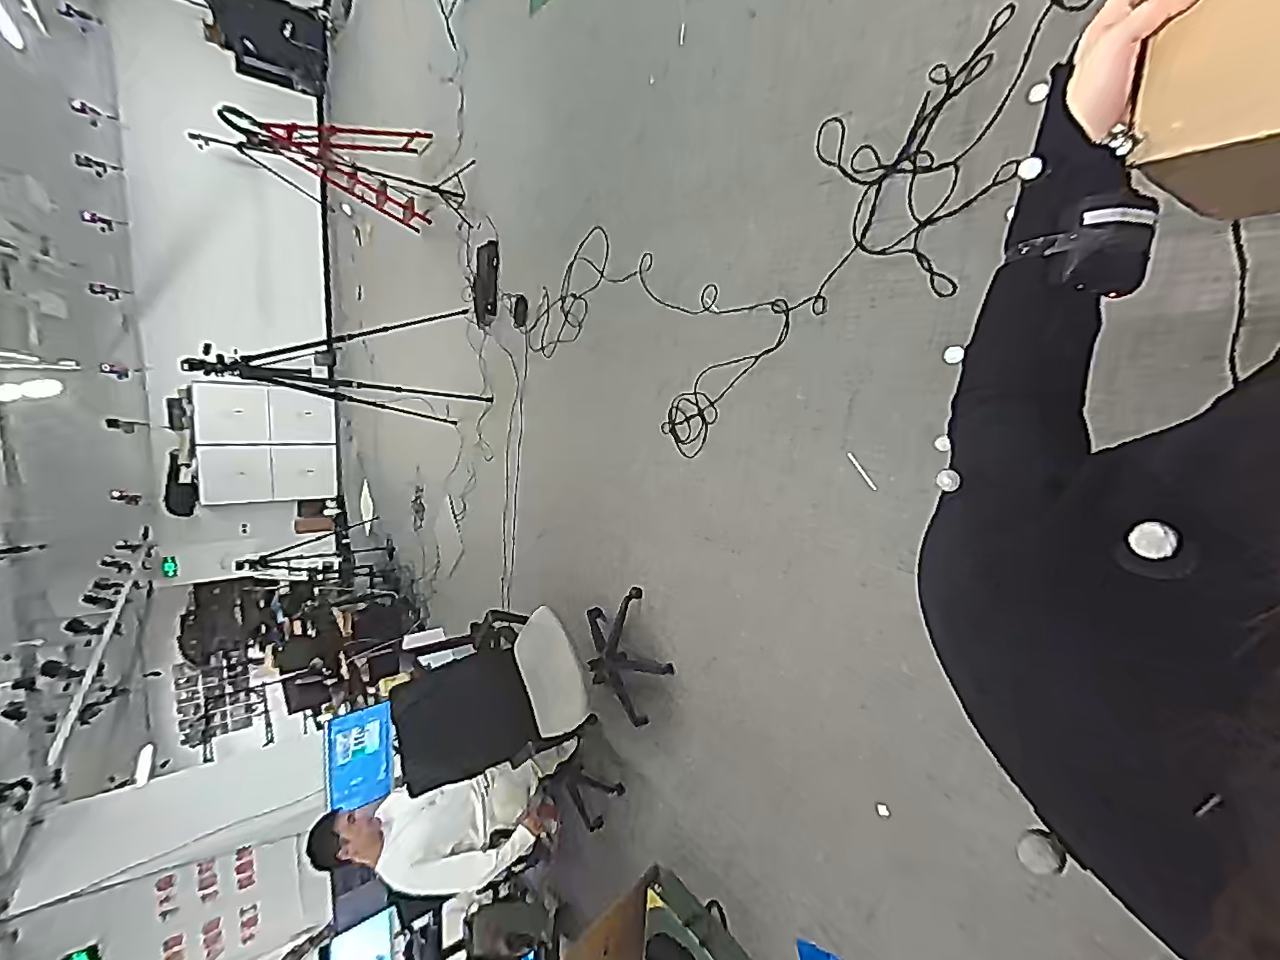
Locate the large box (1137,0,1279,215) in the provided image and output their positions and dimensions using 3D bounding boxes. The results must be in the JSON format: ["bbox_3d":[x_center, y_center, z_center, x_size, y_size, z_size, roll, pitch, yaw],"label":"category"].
[{"bbox_3d":[0.607,-0.372,0.299,0.408,0.320,0.320,16,110,54],"label":"large box"}]
